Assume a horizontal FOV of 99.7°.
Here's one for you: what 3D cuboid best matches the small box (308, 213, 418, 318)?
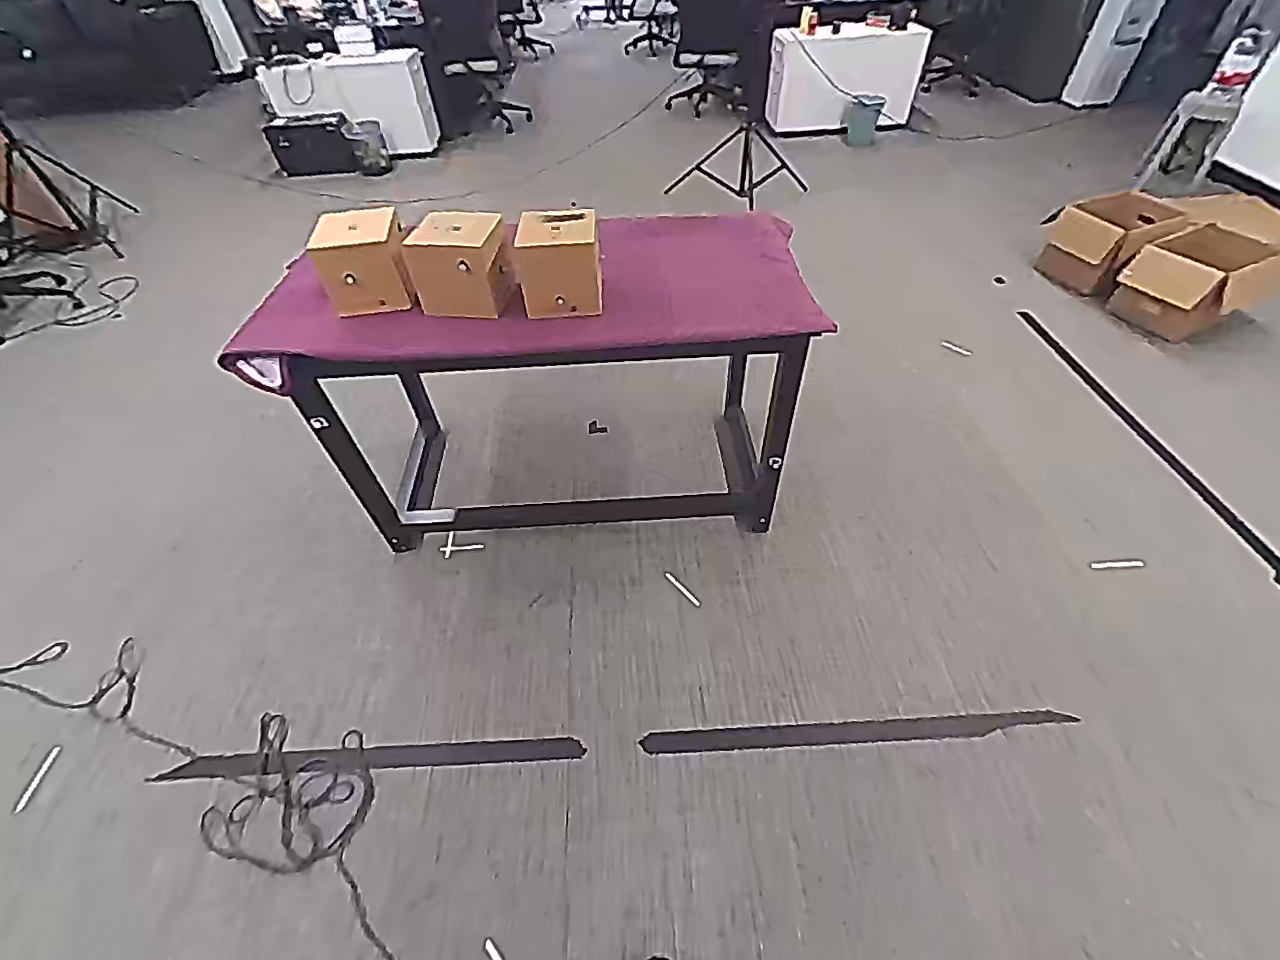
[{"bbox_3d":[-0.630,-0.492,1.255,0.168,0.176,0.179,-10,49,-6],"label":"small box"}]
